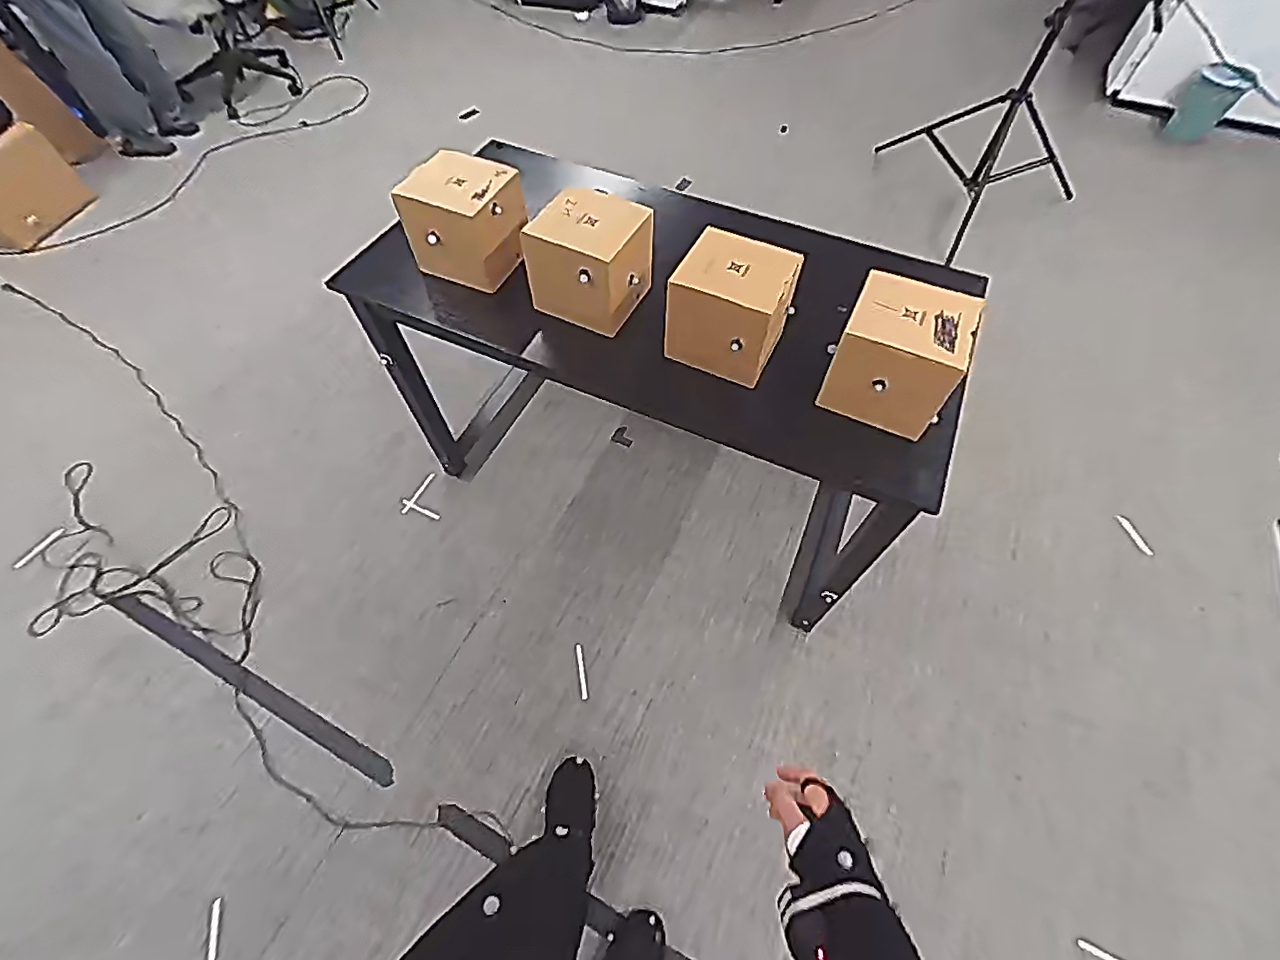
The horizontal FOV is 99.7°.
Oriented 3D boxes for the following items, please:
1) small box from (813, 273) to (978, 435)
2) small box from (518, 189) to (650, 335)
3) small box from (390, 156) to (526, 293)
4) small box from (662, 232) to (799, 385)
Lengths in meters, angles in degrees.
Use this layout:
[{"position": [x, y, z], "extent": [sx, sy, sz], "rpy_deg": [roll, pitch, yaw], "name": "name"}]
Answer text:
[{"position": [0.406, -0.197, 0.880], "extent": [0.179, 0.176, 0.168], "rpy_deg": [23, 60, 15], "name": "small box"}, {"position": [-0.095, -0.396, 1.000], "extent": [0.179, 0.176, 0.168], "rpy_deg": [23, 60, 14], "name": "small box"}, {"position": [-0.342, -0.496, 1.061], "extent": [0.179, 0.176, 0.168], "rpy_deg": [20, 60, 12], "name": "small box"}, {"position": [0.150, -0.291, 0.939], "extent": [0.179, 0.176, 0.168], "rpy_deg": [22, 59, 13], "name": "small box"}]
